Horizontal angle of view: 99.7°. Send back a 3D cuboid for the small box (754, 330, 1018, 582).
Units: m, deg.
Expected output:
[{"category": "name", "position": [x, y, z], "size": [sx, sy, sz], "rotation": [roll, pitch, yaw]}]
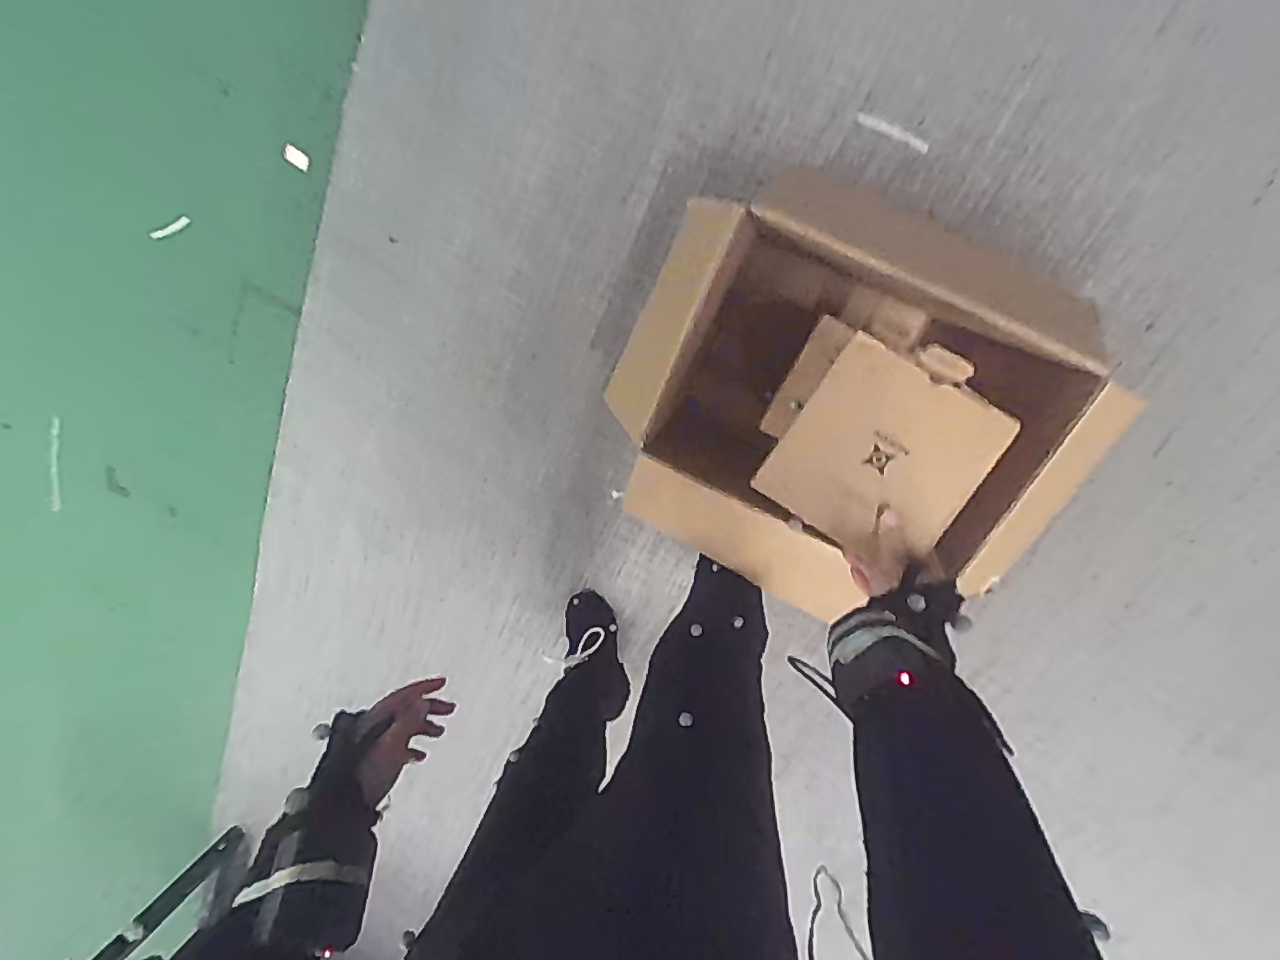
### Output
[{"category": "small box", "position": [0.232, -0.023, 0.568], "size": [0.168, 0.176, 0.179], "rotation": [34, 96, 10]}]
